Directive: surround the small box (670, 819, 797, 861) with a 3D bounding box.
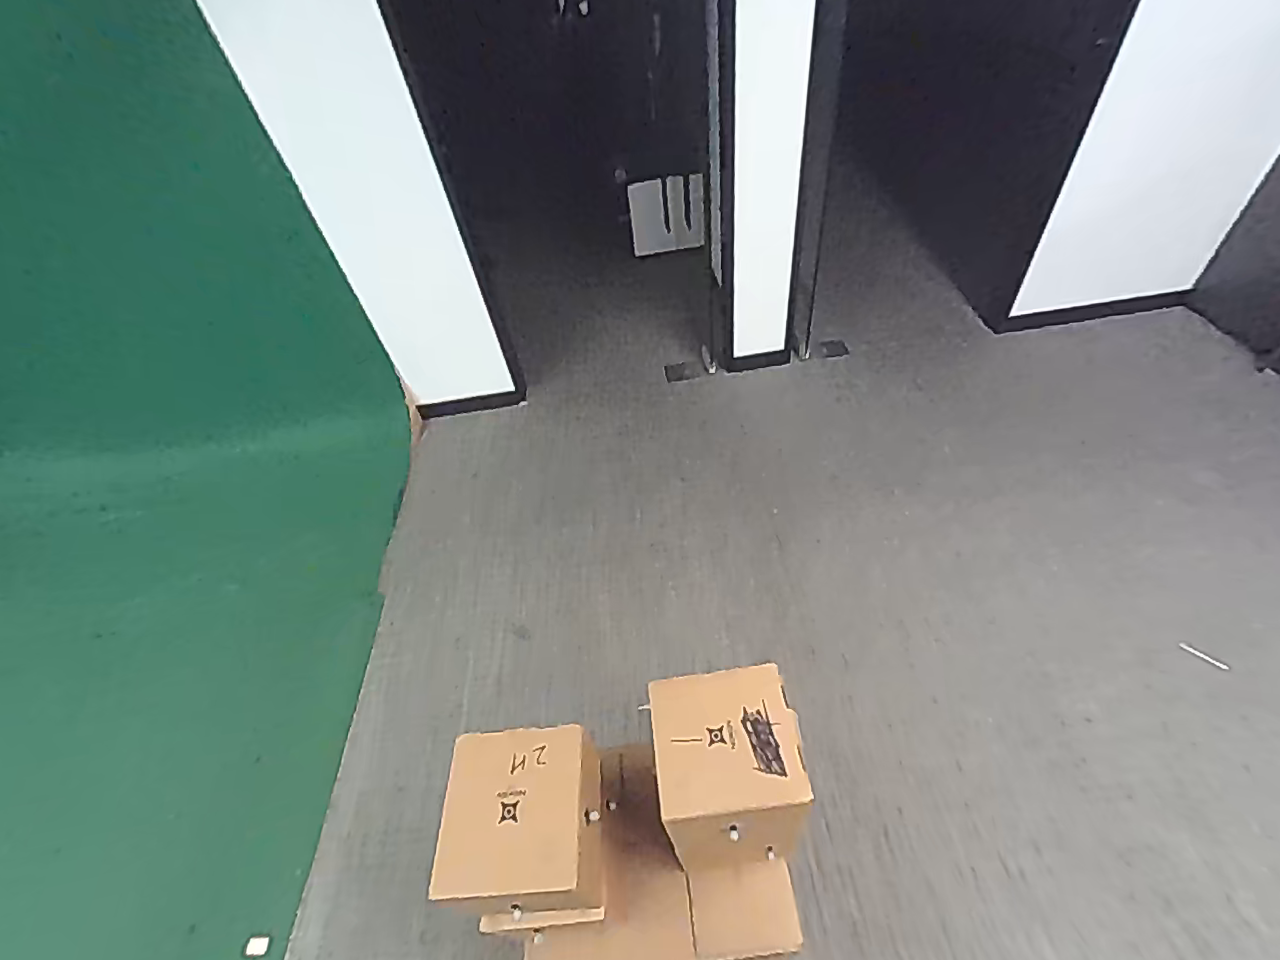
[{"bbox_3d":[0.131,0.476,0.843,0.179,0.176,0.168,-10,46,3],"label":"small box"}]

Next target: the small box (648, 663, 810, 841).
[{"bbox_3d":[0.112,0.365,0.723,0.179,0.176,0.168,-9,46,3],"label":"small box"}]

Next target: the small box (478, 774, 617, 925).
[{"bbox_3d":[-0.127,0.552,0.812,0.168,0.176,0.179,-6,47,2],"label":"small box"}]

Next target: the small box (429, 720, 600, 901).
[{"bbox_3d":[-0.145,0.432,0.701,0.168,0.176,0.179,-5,47,3],"label":"small box"}]
